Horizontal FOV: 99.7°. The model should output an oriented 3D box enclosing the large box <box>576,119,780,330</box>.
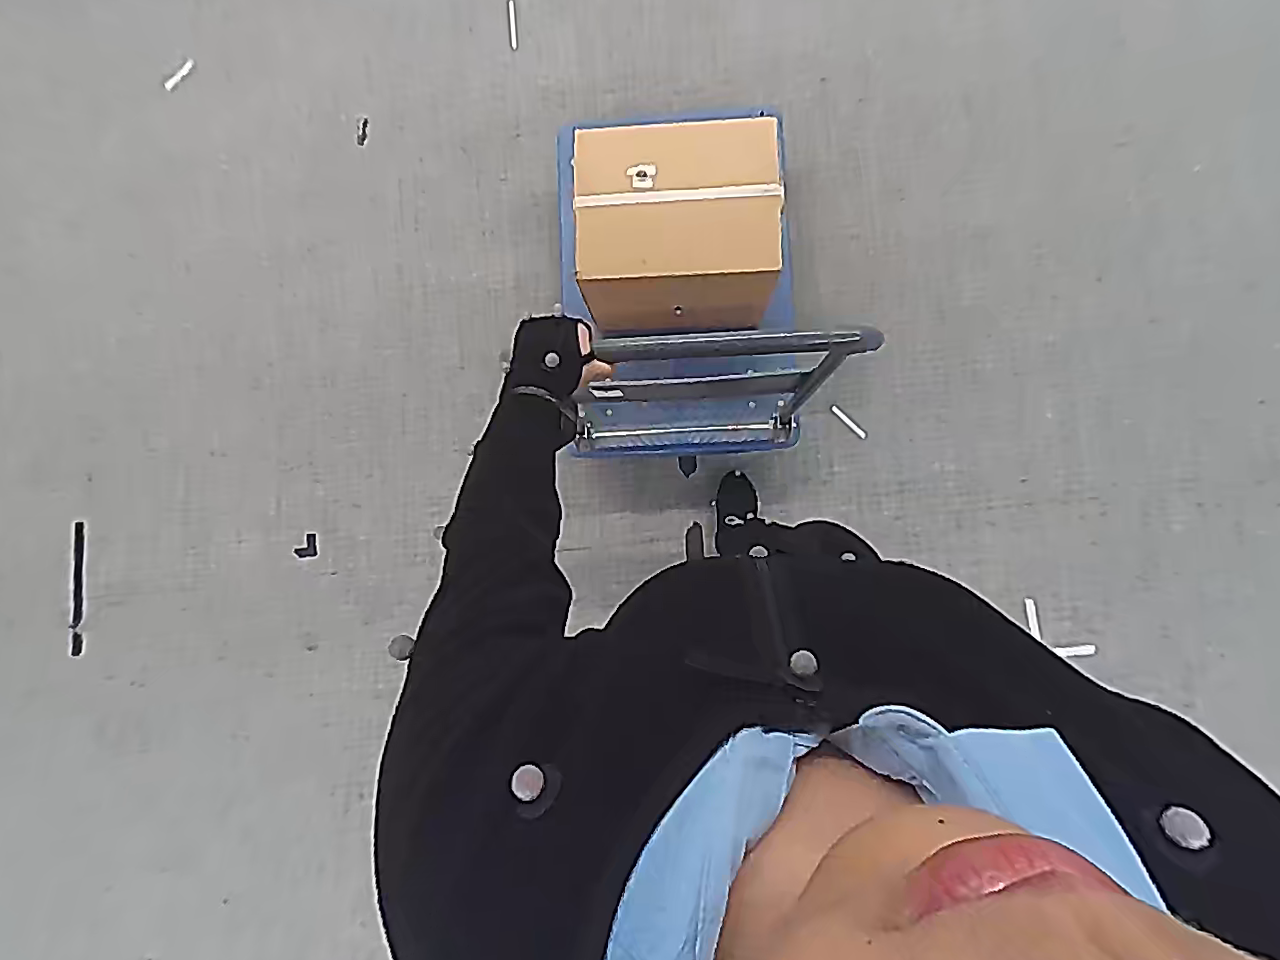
[{"bbox_3d":[0.086,-0.547,1.226,0.408,0.320,0.320,-2,85,6],"label":"large box"}]
